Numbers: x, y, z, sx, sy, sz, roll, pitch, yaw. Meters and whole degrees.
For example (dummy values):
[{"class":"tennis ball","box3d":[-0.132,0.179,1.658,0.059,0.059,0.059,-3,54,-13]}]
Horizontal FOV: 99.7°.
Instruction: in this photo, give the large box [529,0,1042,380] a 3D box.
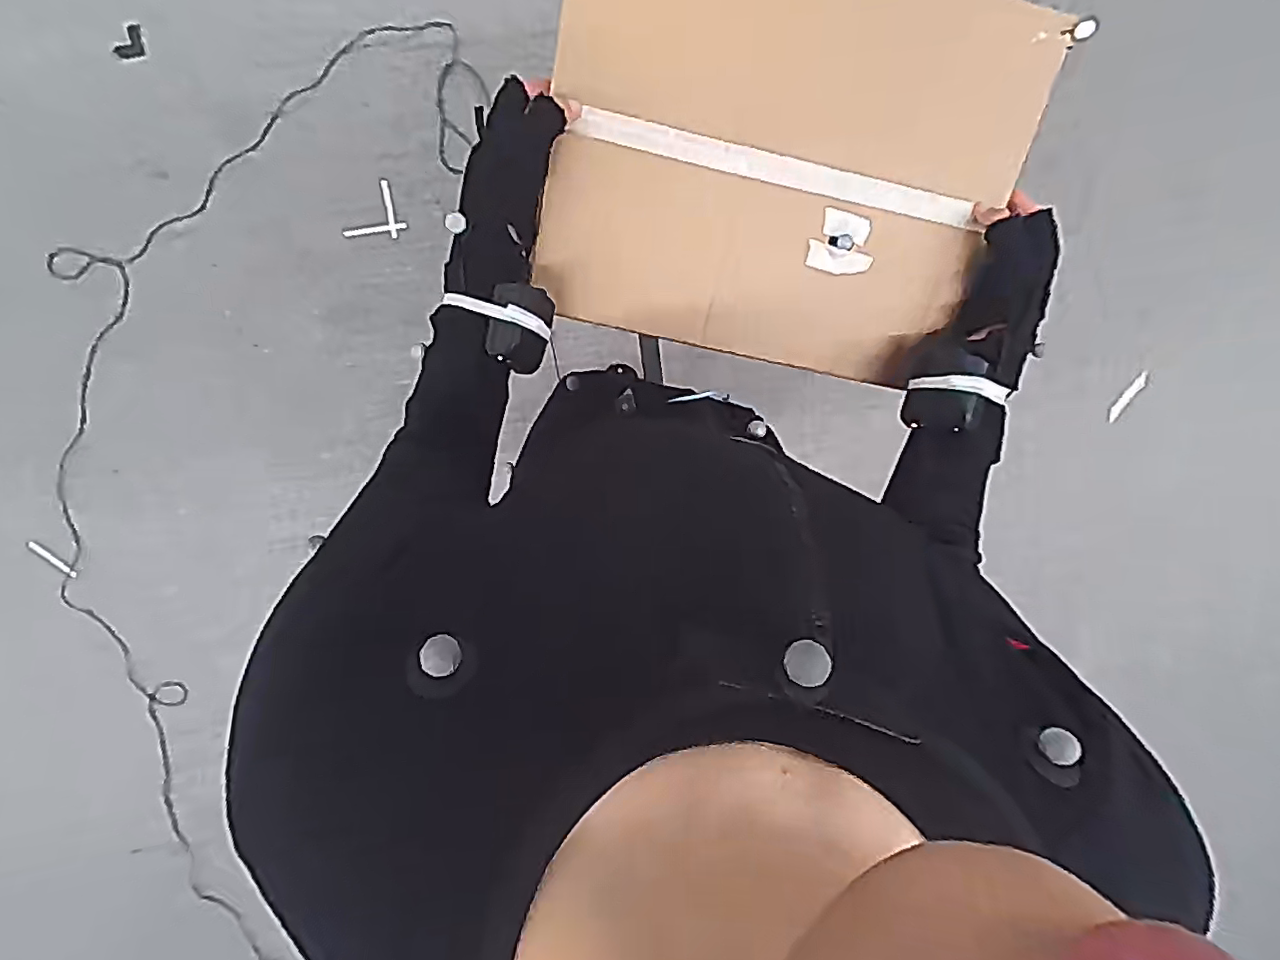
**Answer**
[{"class":"large box","box3d":[0.106,-0.319,0.616,0.408,0.320,0.320,9,110,-7]}]
